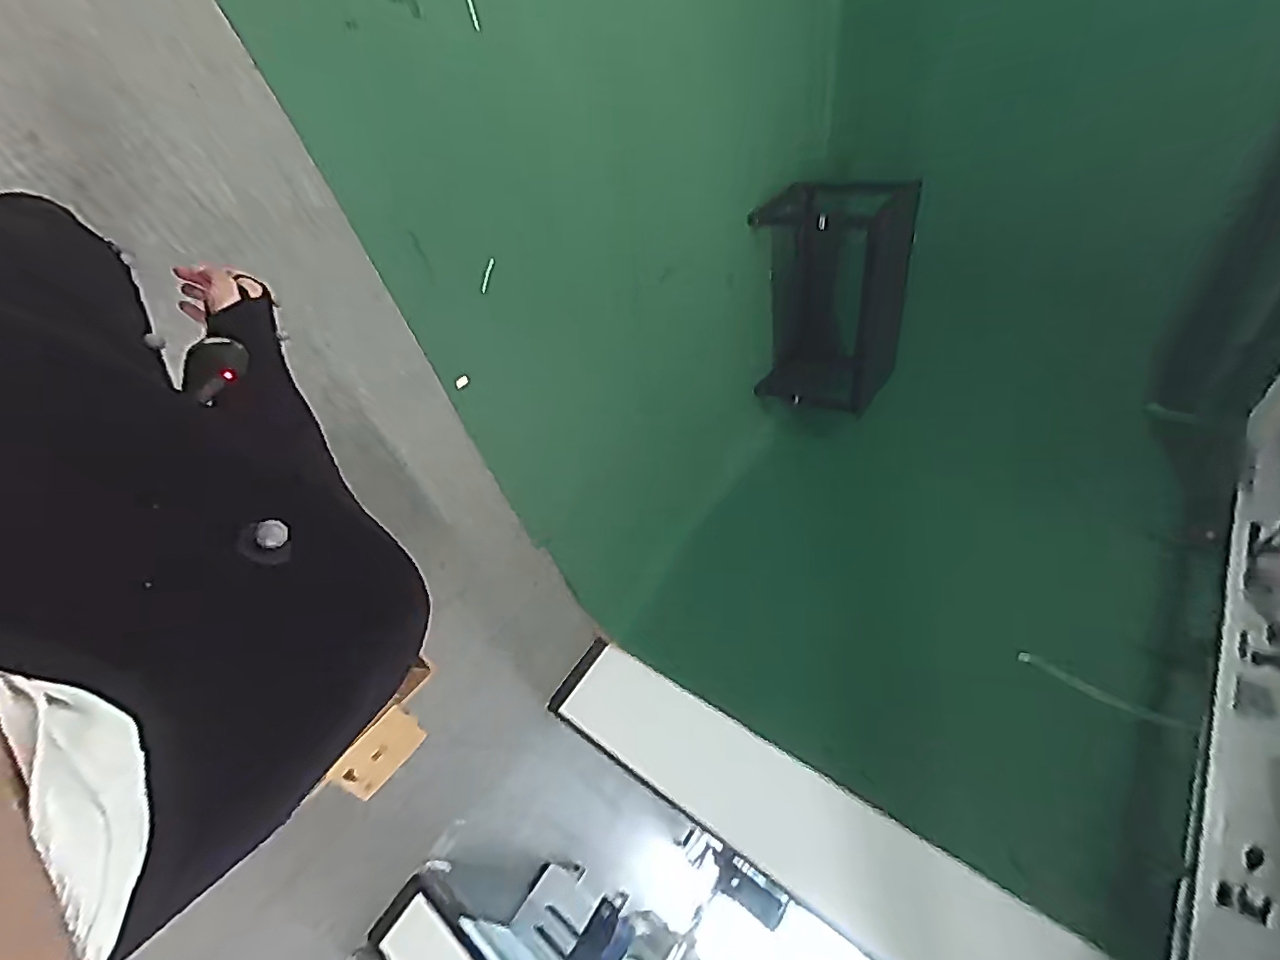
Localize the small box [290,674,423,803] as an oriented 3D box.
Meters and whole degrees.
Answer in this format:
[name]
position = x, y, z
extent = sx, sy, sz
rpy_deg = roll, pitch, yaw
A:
[small box]
position = -0.640, 0.575, 1.222
extent = 0.179, 0.176, 0.168
rpy_deg = -46, 140, -33
